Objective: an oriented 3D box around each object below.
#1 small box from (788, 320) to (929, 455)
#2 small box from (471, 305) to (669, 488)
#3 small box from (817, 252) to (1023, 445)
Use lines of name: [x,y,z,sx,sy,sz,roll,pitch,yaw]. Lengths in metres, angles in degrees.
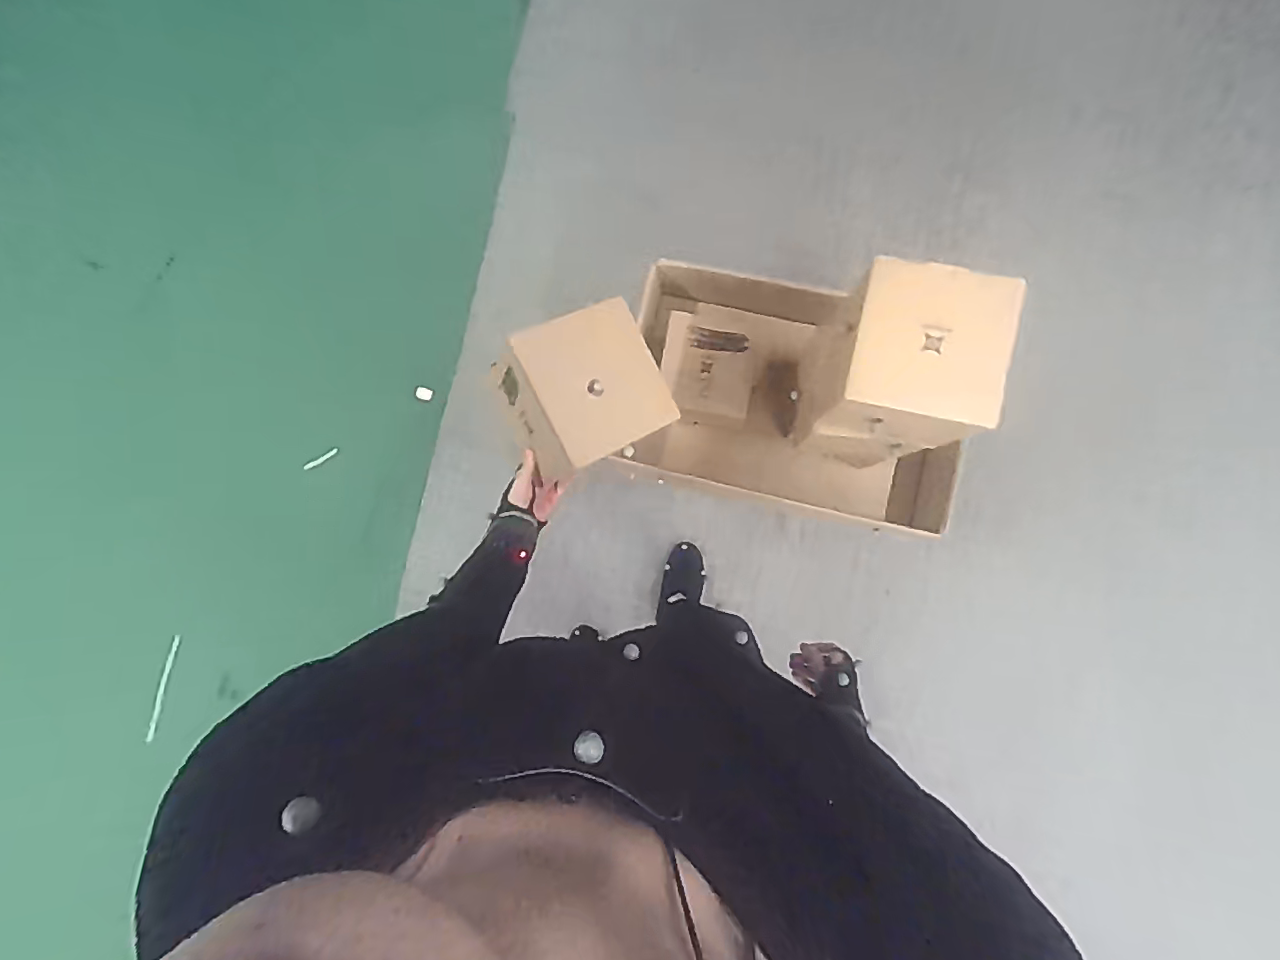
small box: [0.339,-0.134,0.840,0.179,0.176,0.168,5,85,7]
small box: [-0.094,-0.109,0.708,0.176,0.168,0.179,-31,97,-24]
small box: [0.332,-0.151,0.679,0.168,0.176,0.179,13,86,7]
